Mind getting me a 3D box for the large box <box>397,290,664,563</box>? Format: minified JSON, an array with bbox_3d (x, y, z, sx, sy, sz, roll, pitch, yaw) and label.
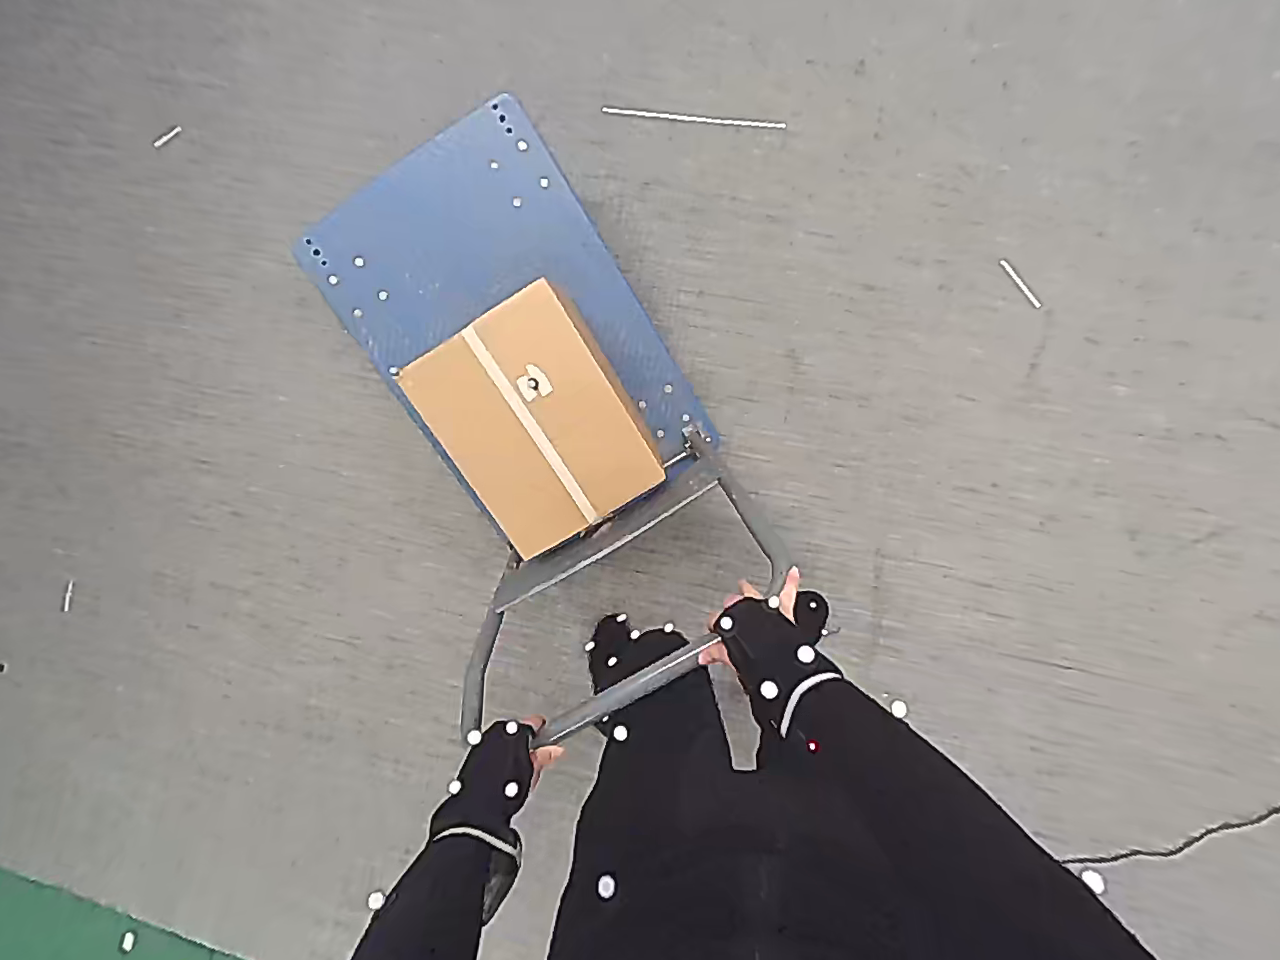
[{"bbox_3d":[-0.187,-0.113,1.101,0.320,0.320,0.408,-32,102,6],"label":"large box"}]
